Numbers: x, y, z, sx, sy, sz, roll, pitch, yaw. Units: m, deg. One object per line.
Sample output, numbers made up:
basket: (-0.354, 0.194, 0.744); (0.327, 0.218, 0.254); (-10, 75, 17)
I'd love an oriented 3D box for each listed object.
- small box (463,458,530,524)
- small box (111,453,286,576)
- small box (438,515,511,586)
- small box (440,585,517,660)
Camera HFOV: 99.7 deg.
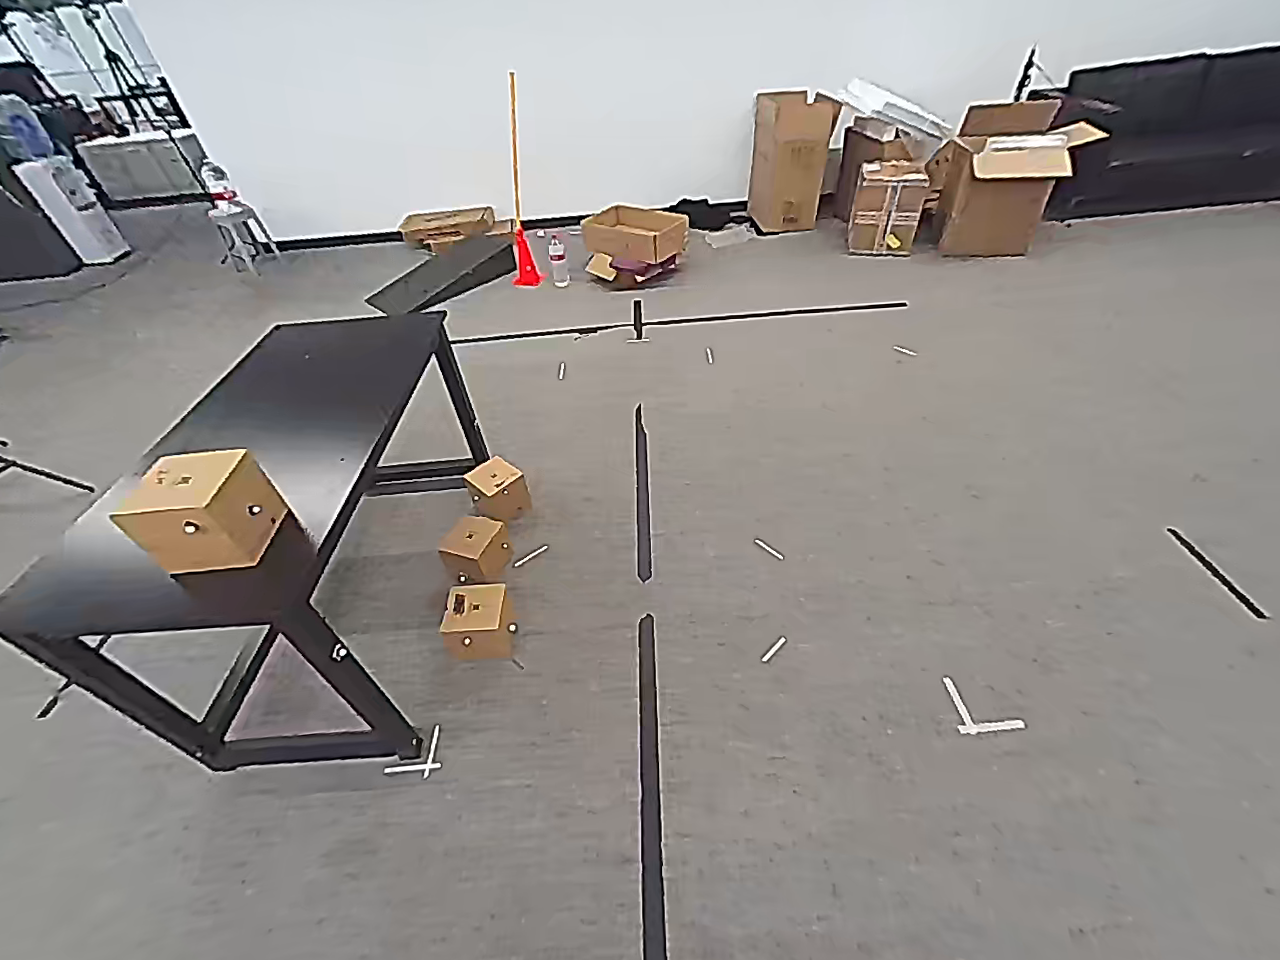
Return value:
small box: (-0.561, 0.047, 2.131); (0.179, 0.176, 0.168); (29, 53, 32)
small box: (-0.846, 0.069, 1.063); (0.179, 0.176, 0.168); (-6, 42, 0)
small box: (-0.574, 0.256, 1.912); (0.168, 0.176, 0.179); (10, 46, 17)
small box: (-0.499, 0.449, 1.693); (0.179, 0.176, 0.168); (-4, 43, 0)
